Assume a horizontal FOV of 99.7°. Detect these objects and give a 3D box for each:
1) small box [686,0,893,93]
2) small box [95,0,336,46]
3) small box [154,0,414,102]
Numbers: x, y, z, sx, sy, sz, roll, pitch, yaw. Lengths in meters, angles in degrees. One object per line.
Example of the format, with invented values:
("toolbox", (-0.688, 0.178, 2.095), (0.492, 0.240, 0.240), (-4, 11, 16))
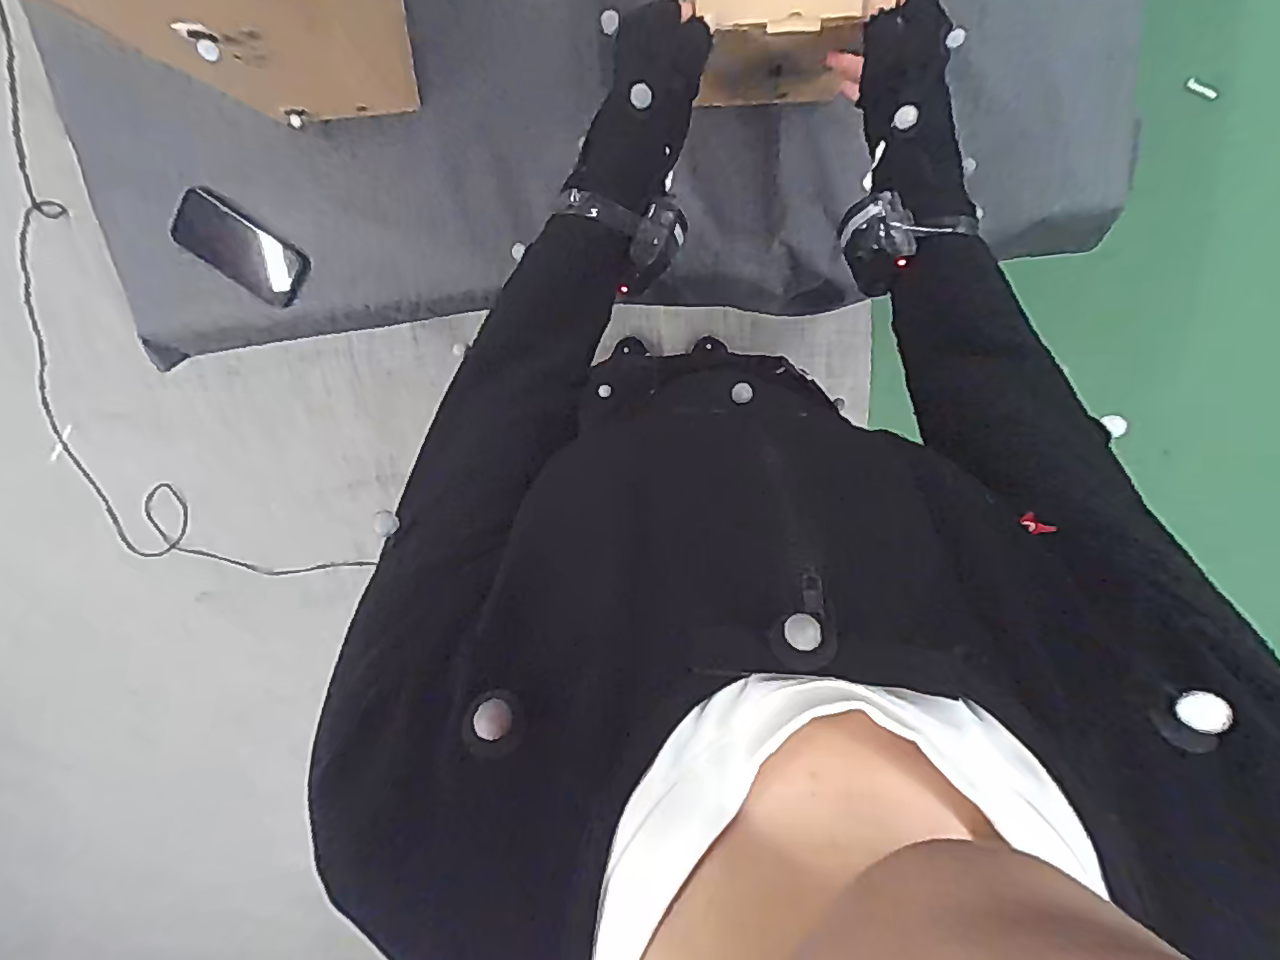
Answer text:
("small box", (0.129, -0.483, 0.498), (0.168, 0.176, 0.179), (0, 107, 3))
("small box", (-0.342, -0.437, 0.360), (0.168, 0.176, 0.179), (-4, 107, 4))
("small box", (-0.337, -0.488, 0.514), (0.168, 0.176, 0.179), (-3, 105, 3))
